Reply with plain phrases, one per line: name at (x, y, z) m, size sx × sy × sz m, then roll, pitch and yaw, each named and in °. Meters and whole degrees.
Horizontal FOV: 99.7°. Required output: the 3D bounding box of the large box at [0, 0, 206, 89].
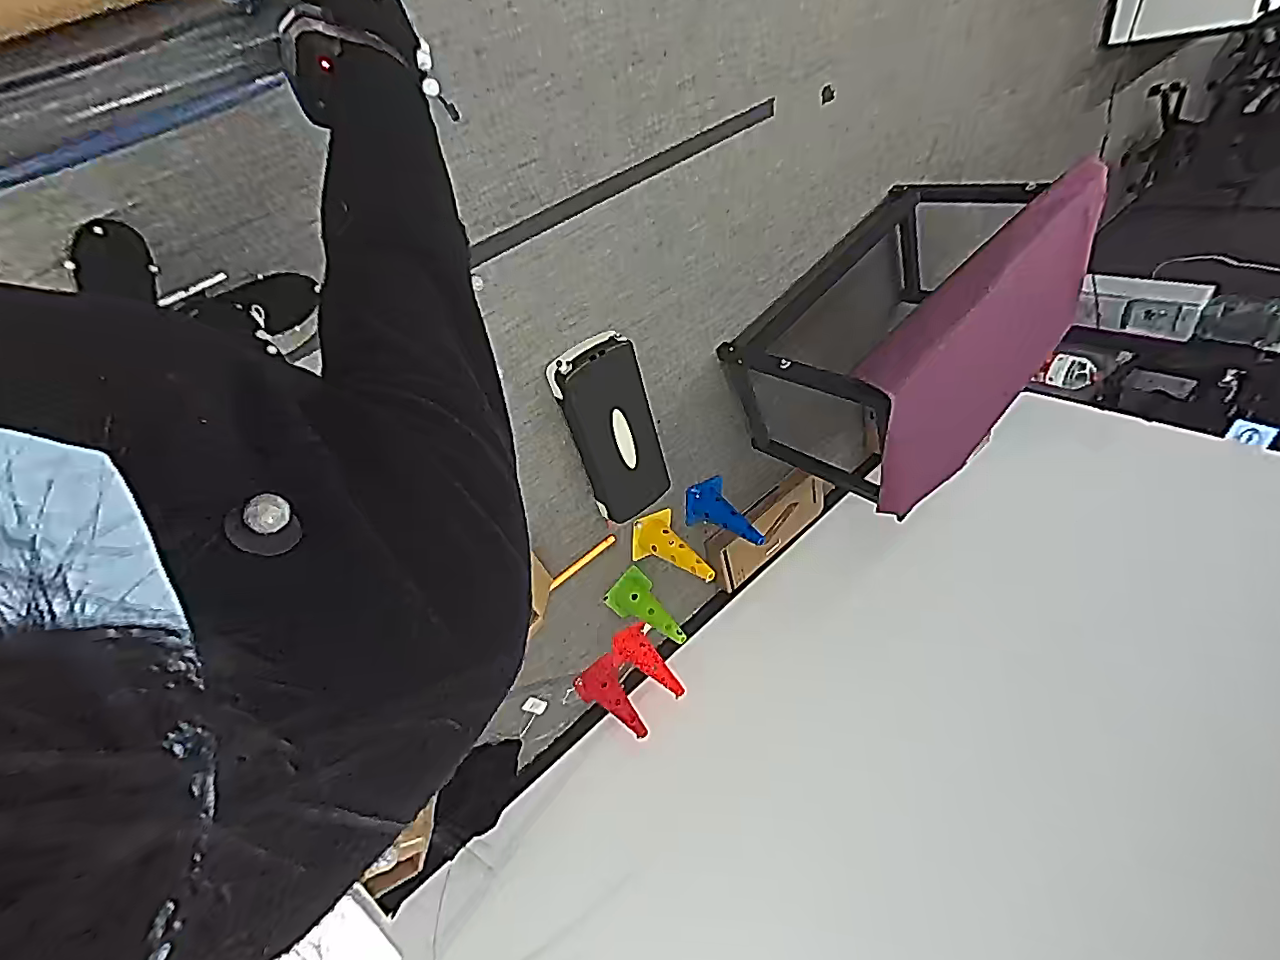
large box at (-0.798, -0.667, 0.602) m, size 0.408 × 0.320 × 0.320 m, roll -38°, pitch 133°, yaw -20°
